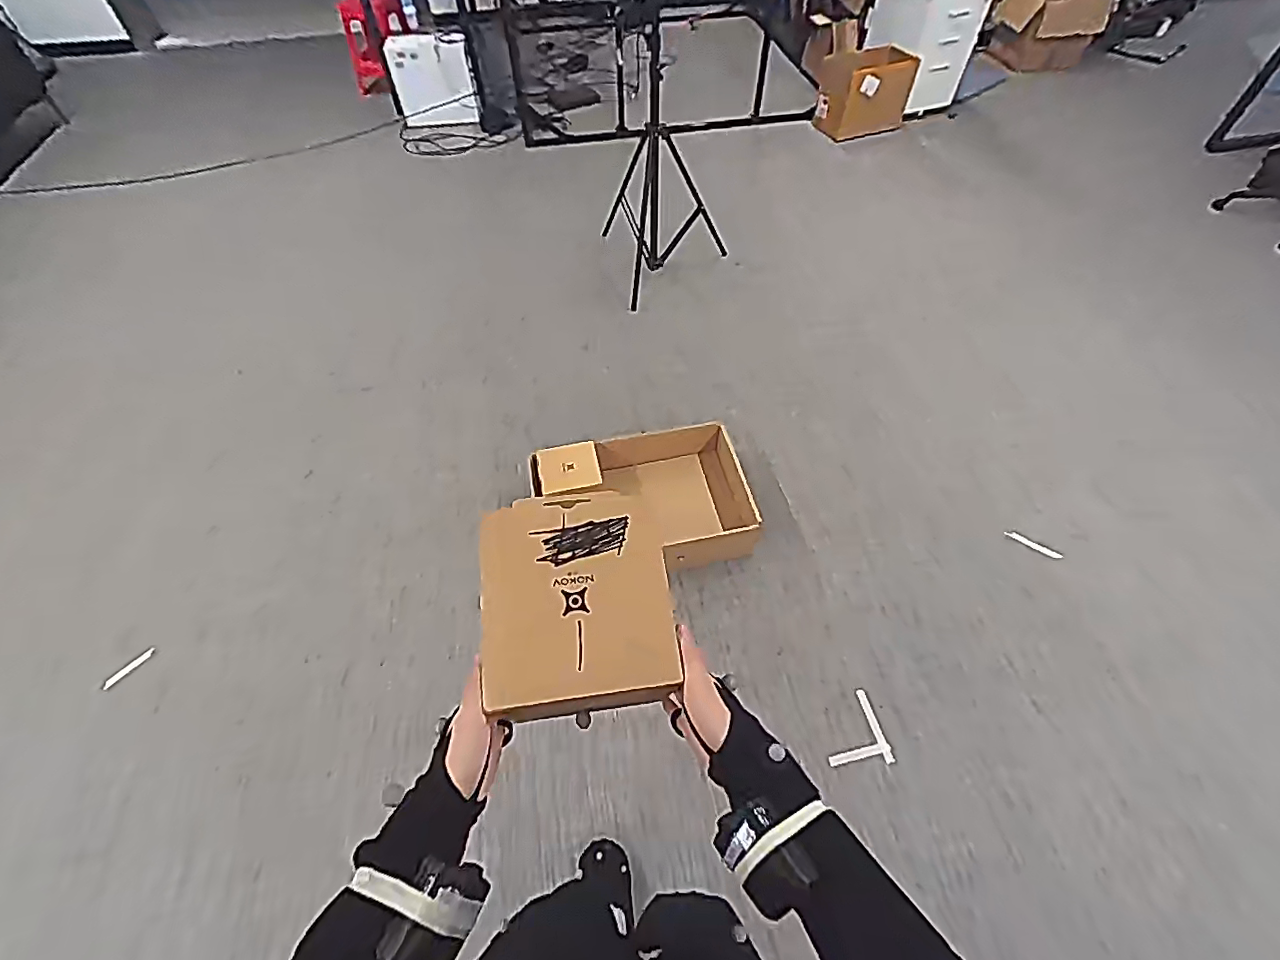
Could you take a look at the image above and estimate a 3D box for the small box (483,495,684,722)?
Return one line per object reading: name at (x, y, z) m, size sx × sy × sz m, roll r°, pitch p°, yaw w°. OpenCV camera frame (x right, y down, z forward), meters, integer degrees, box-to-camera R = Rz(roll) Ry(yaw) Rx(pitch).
small box at (-0.060, 0.134, 0.544) m, size 0.168 × 0.176 × 0.179 m, roll -6°, pitch 64°, yaw -7°
